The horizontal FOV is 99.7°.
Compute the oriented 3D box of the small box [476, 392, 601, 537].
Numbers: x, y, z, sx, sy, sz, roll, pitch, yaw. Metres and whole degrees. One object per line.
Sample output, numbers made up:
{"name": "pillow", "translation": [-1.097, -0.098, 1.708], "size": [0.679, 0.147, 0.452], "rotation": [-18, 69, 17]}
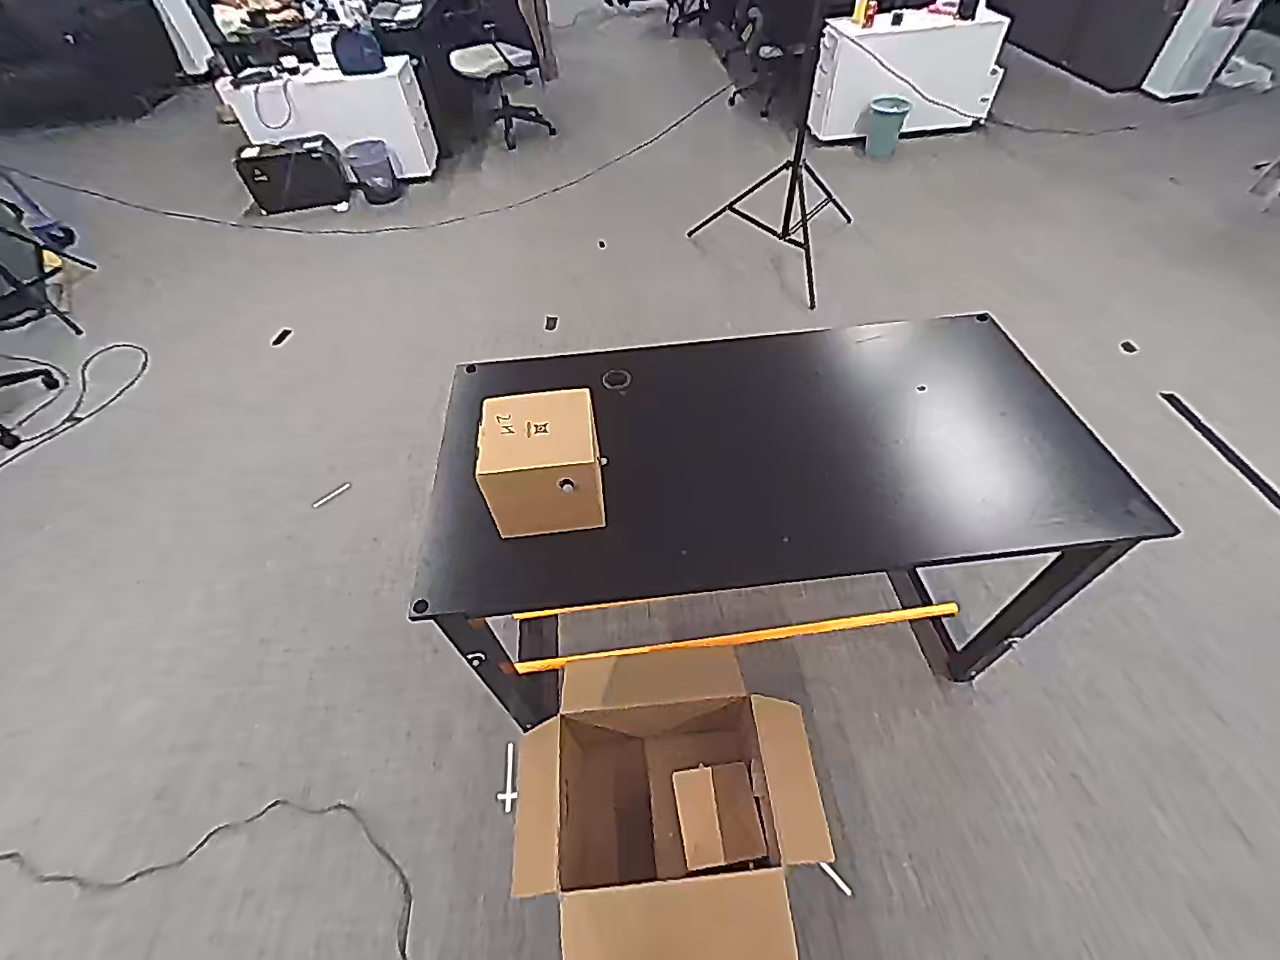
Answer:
{"name": "small box", "translation": [-0.158, -0.023, 0.900], "size": [0.179, 0.176, 0.168], "rotation": [-7, 50, -2]}
